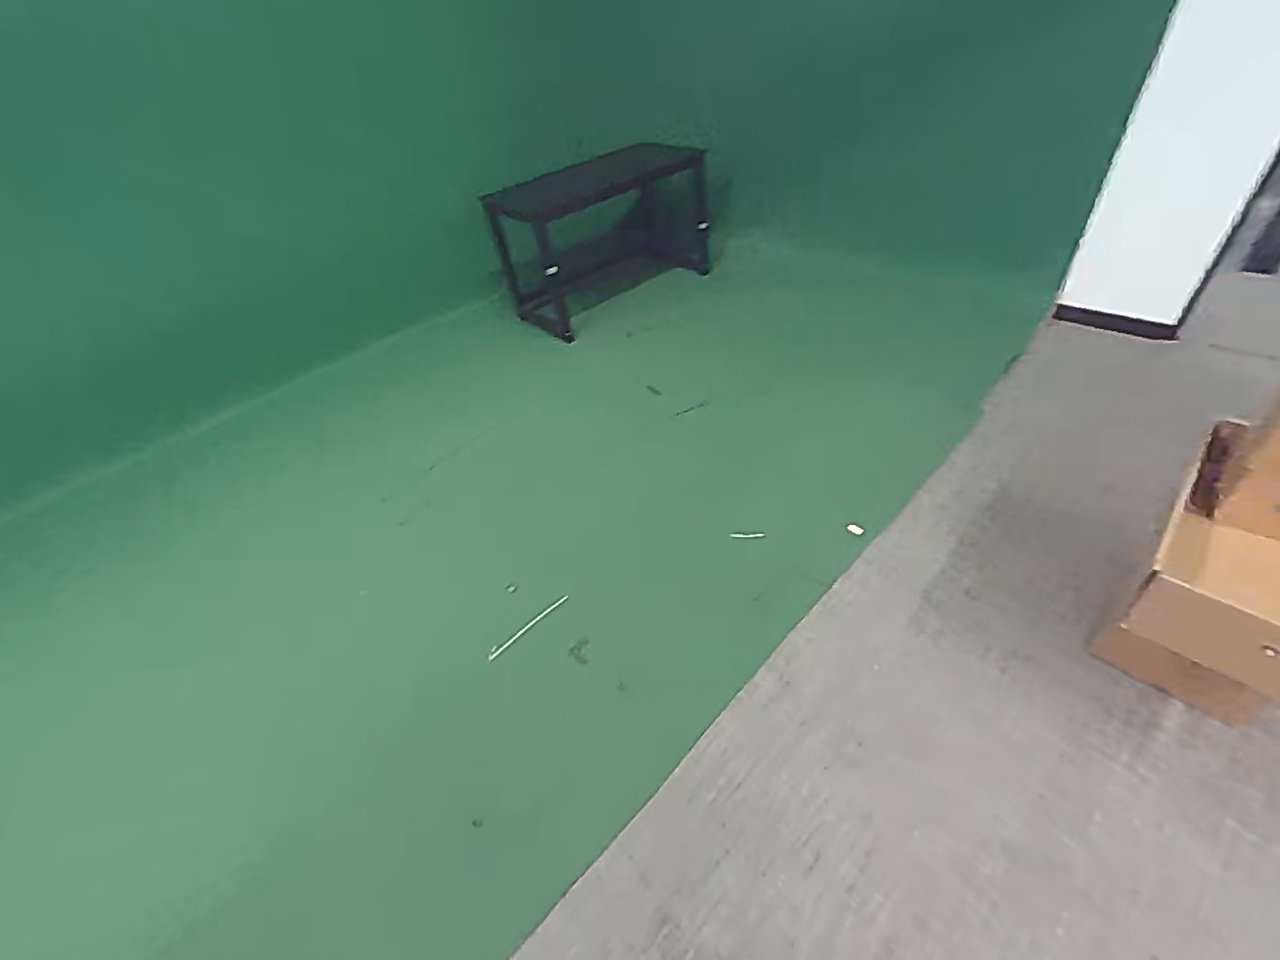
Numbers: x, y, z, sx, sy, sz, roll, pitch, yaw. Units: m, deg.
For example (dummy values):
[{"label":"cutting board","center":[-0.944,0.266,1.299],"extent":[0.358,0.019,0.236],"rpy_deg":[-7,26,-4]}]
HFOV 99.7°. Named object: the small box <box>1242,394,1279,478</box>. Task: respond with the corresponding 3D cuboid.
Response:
[{"label":"small box","center":[1.407,-0.096,1.106],"extent":[0.179,0.176,0.168],"rpy_deg":[24,53,34]}]
